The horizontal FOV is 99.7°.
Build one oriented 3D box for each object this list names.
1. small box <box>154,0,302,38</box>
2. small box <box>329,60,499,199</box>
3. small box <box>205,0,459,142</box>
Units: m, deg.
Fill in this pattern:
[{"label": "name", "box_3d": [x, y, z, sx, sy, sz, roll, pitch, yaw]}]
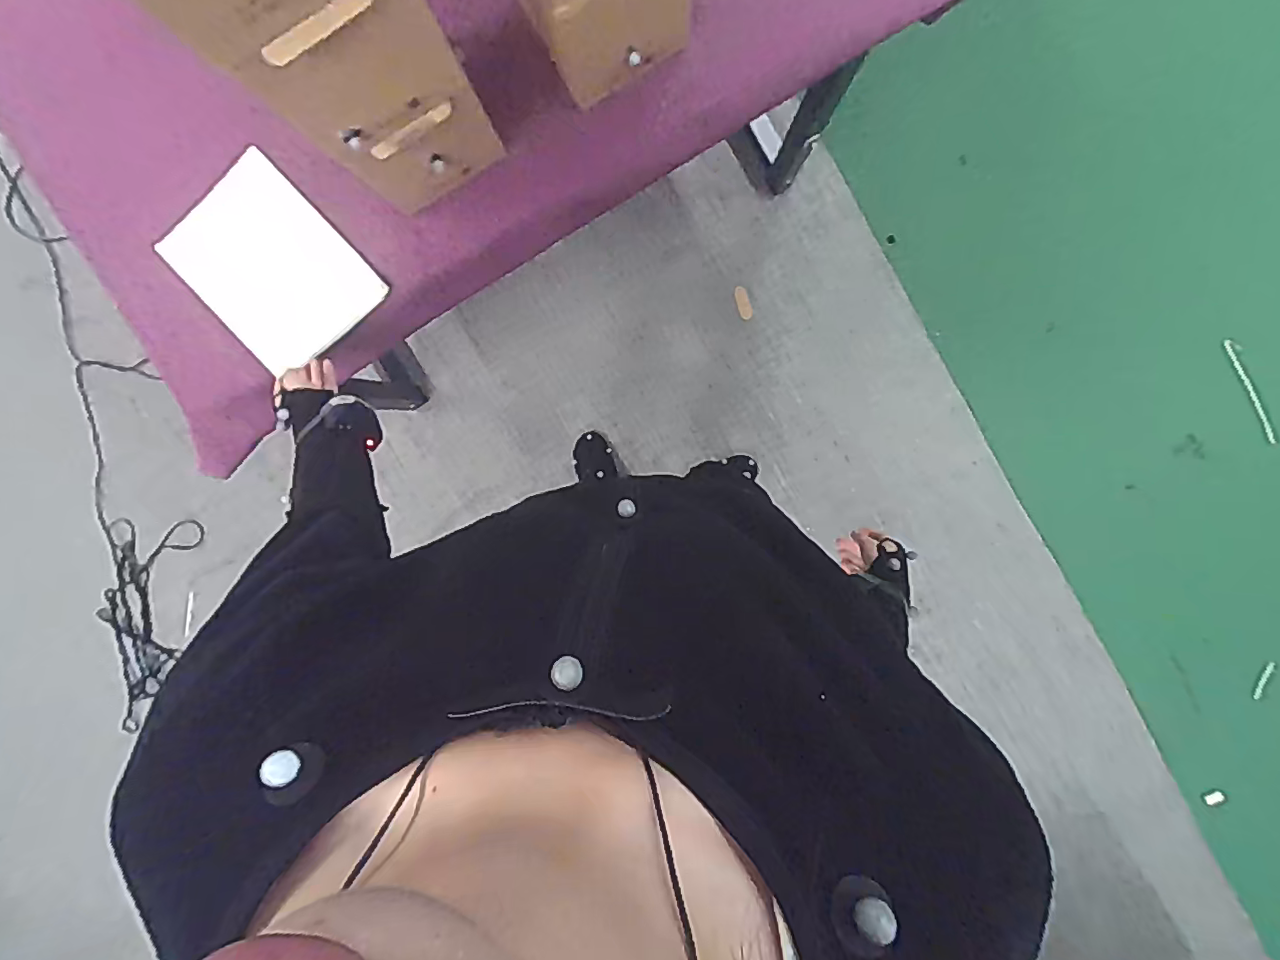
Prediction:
[{"label": "small box", "box_3d": [-0.299, -0.430, 0.333, 0.168, 0.176, 0.179, -29, 94, 3]}, {"label": "small box", "box_3d": [-0.297, -0.475, 0.658, 0.168, 0.176, 0.179, -29, 96, 4]}, {"label": "small box", "box_3d": [-0.298, -0.452, 0.494, 0.168, 0.176, 0.179, -29, 94, 4]}]
